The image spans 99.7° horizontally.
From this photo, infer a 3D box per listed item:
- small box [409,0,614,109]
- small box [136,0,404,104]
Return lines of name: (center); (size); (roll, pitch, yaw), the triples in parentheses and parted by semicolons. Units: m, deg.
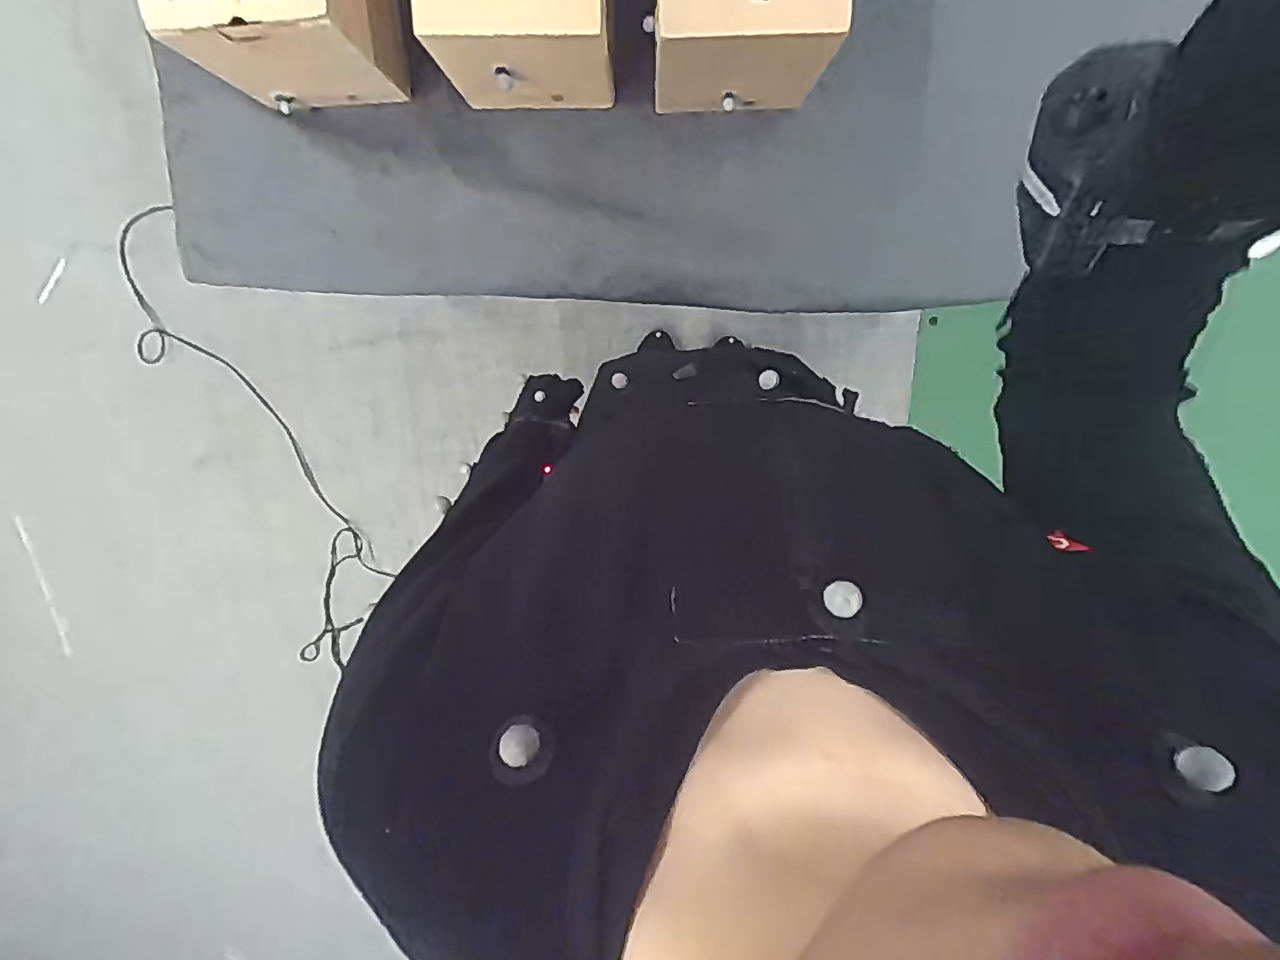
small box: (-0.113, -0.485, 0.521); (0.168, 0.176, 0.179); (0, 104, 1)
small box: (-0.349, -0.491, 0.521); (0.168, 0.176, 0.179); (-3, 104, 2)
